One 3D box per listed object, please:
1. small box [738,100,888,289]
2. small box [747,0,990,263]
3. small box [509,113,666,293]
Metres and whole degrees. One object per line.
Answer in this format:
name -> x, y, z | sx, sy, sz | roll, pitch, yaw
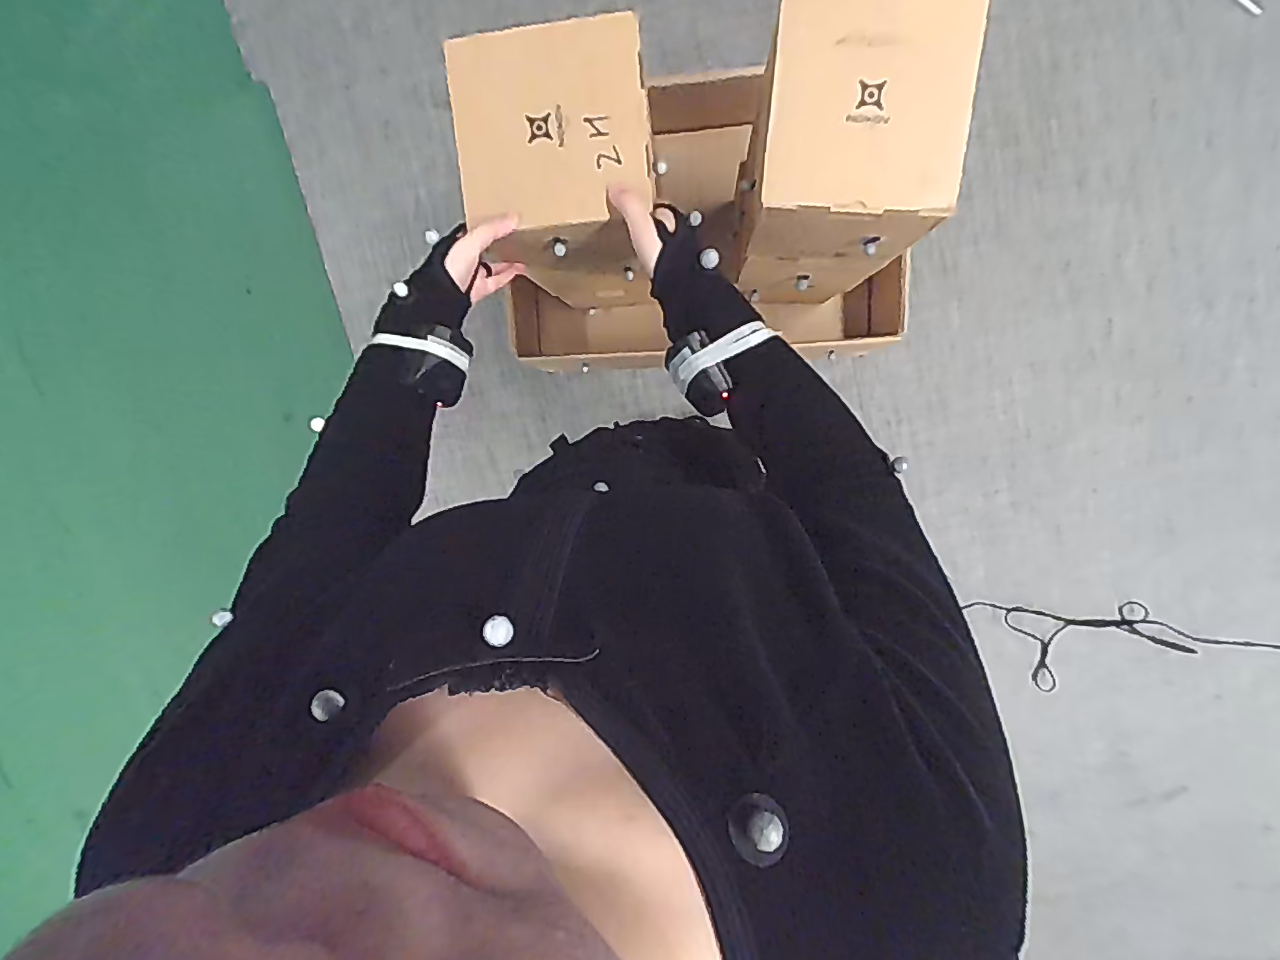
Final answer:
small box -> 0.219, -0.349, 0.690 | 0.168, 0.176, 0.179 | 5, 100, 5
small box -> 0.200, -0.323, 0.530 | 0.168, 0.176, 0.179 | 6, 99, 5
small box -> -0.059, -0.354, 0.725 | 0.179, 0.176, 0.168 | -3, 99, 5
